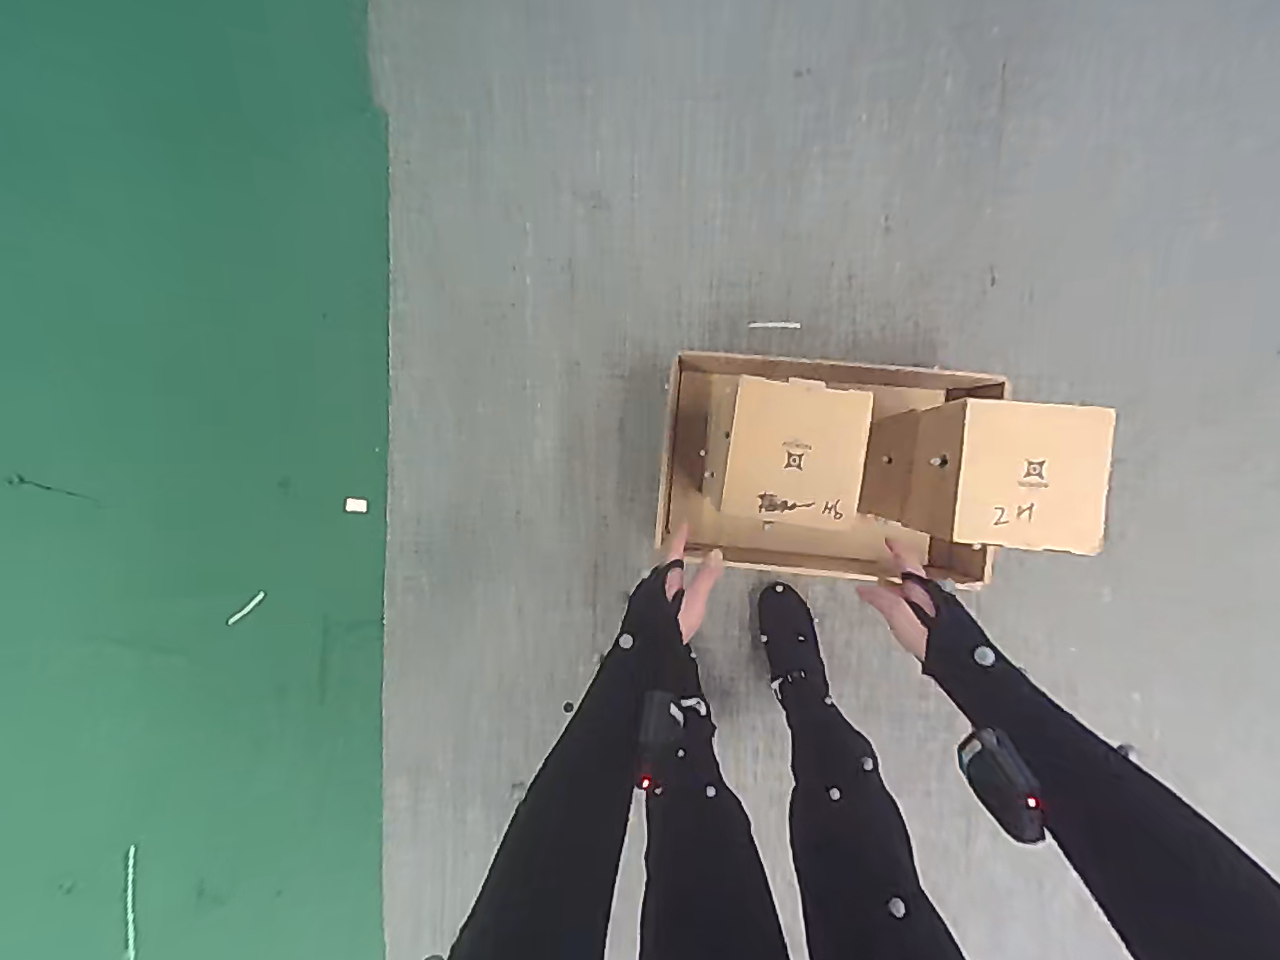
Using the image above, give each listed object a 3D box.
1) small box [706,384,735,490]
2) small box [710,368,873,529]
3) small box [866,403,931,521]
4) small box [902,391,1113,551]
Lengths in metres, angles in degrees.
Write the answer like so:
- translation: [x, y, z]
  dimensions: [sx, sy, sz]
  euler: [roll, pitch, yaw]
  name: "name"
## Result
- translation: [0.203, -0.053, 0.896]
  dimensions: [0.168, 0.176, 0.179]
  euler: [6, 91, 3]
  name: "small box"
- translation: [0.191, -0.039, 0.732]
  dimensions: [0.168, 0.176, 0.179]
  euler: [8, 91, 3]
  name: "small box"
- translation: [0.481, -0.019, 0.877]
  dimensions: [0.168, 0.176, 0.179]
  euler: [8, 91, 5]
  name: "small box"
- translation: [0.465, -0.012, 0.713]
  dimensions: [0.168, 0.176, 0.179]
  euler: [6, 92, 6]
  name: "small box"
